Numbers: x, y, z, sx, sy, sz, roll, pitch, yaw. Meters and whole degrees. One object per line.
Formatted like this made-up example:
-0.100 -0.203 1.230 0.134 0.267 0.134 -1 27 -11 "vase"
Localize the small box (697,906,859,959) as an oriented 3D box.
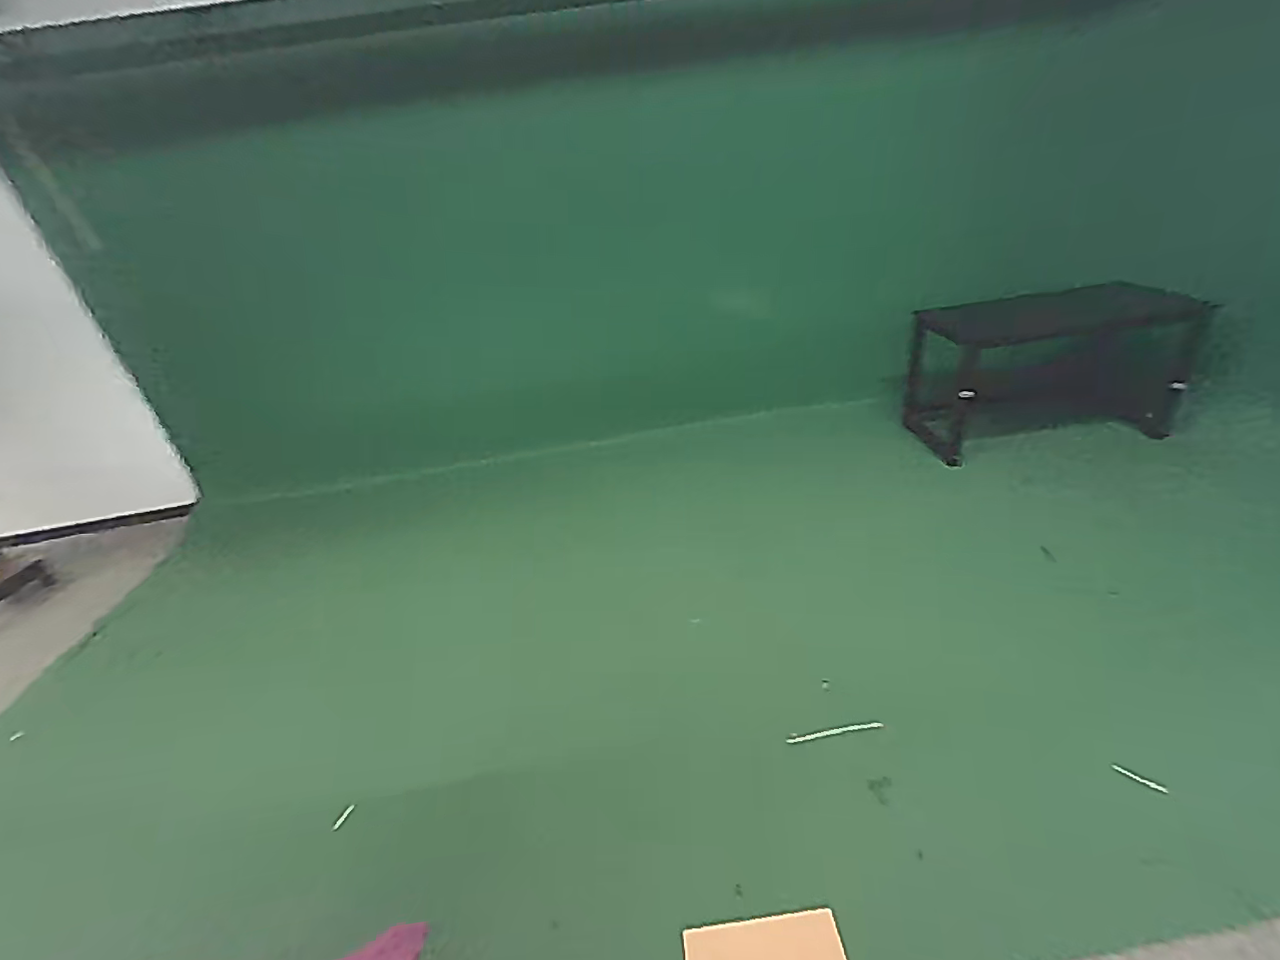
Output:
0.155 0.583 0.547 0.168 0.176 0.179 -10 24 4 "small box"
